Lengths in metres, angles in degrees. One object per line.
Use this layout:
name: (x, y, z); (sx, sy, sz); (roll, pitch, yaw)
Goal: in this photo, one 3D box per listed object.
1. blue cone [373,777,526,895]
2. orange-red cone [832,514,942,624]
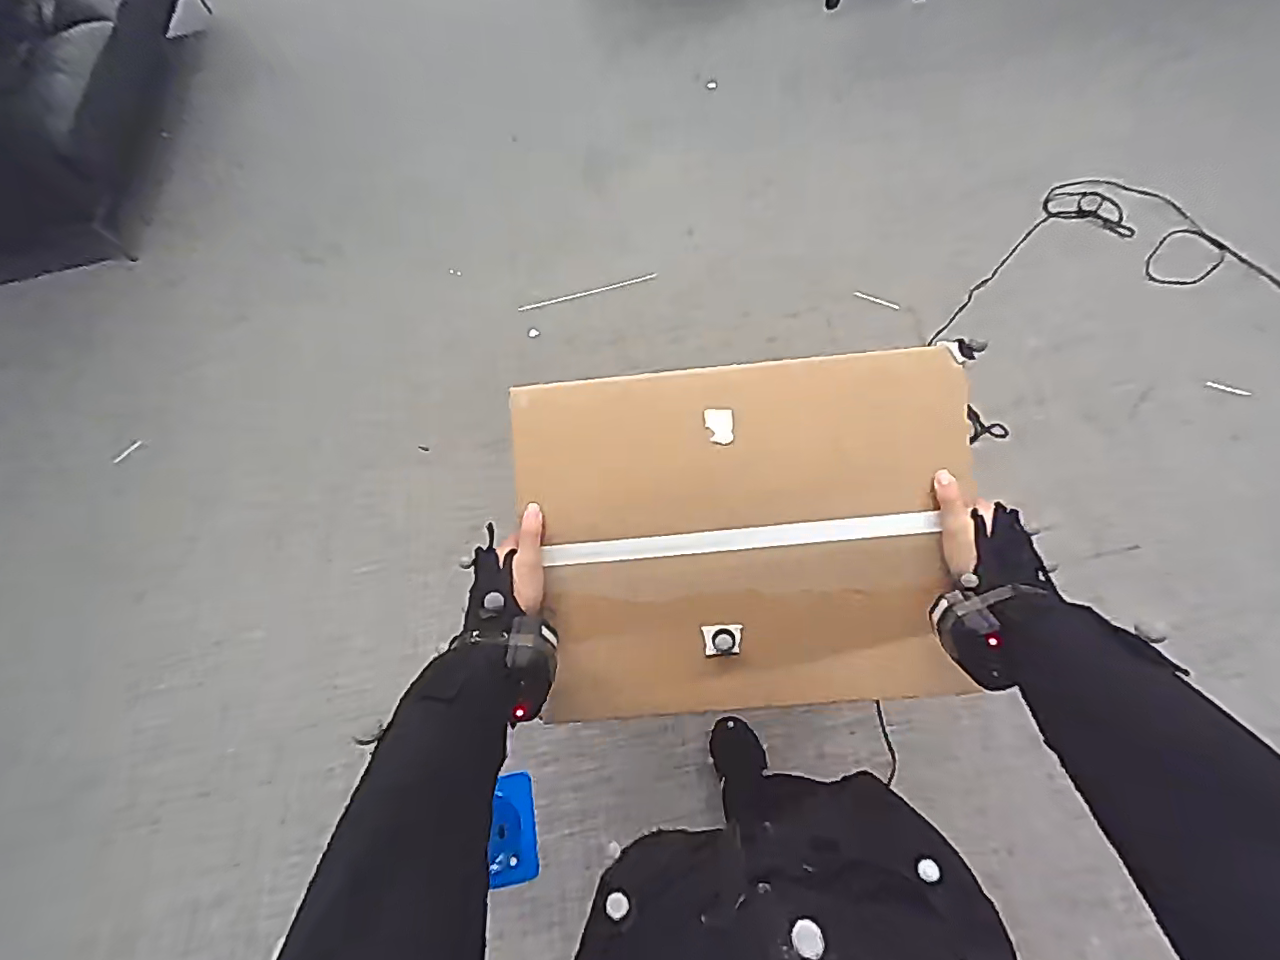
blue cone: (-0.354, 0.660, 0.983); (0.192, 0.380, 0.193); (-12, 61, 2)
orange-red cone: (0.532, 0.150, 1.098); (0.199, 0.360, 0.198); (6, 65, 10)
